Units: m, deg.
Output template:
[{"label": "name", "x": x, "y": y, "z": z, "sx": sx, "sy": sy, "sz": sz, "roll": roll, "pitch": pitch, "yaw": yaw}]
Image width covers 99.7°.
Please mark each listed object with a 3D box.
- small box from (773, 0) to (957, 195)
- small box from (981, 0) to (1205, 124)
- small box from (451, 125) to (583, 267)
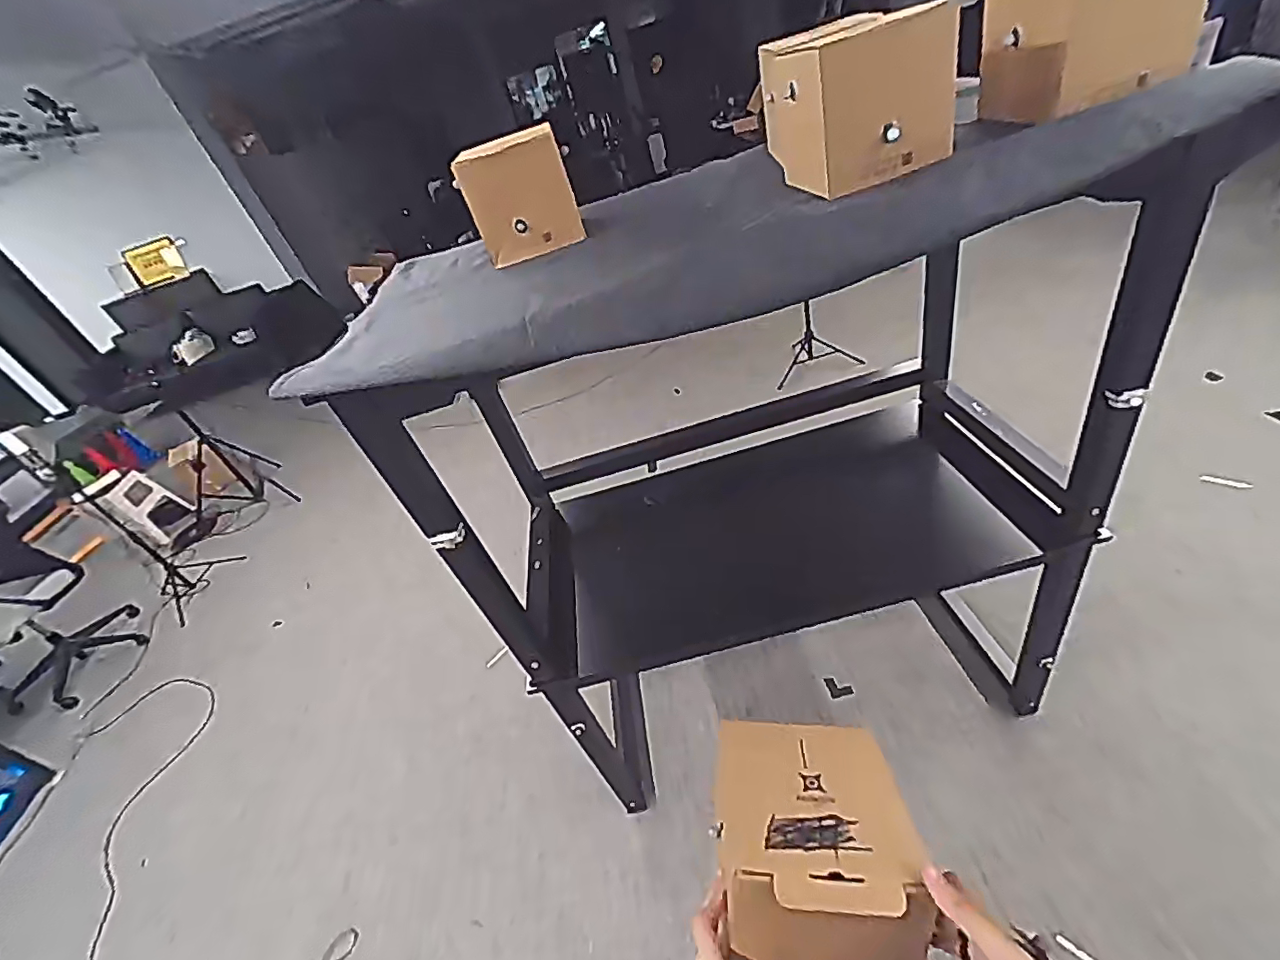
[{"label": "small box", "x": 0.291, "y": -0.502, "z": 0.727, "sx": 0.168, "sy": 0.176, "sz": 0.179, "roll": -17, "pitch": 36, "yaw": 4}, {"label": "small box", "x": 0.578, "y": -0.588, "z": 0.707, "sx": 0.168, "sy": 0.176, "sz": 0.179, "roll": -16, "pitch": 36, "yaw": 6}, {"label": "small box", "x": -0.205, "y": -0.492, "z": 0.940, "sx": 0.168, "sy": 0.176, "sz": 0.179, "roll": -18, "pitch": 38, "yaw": 3}]
